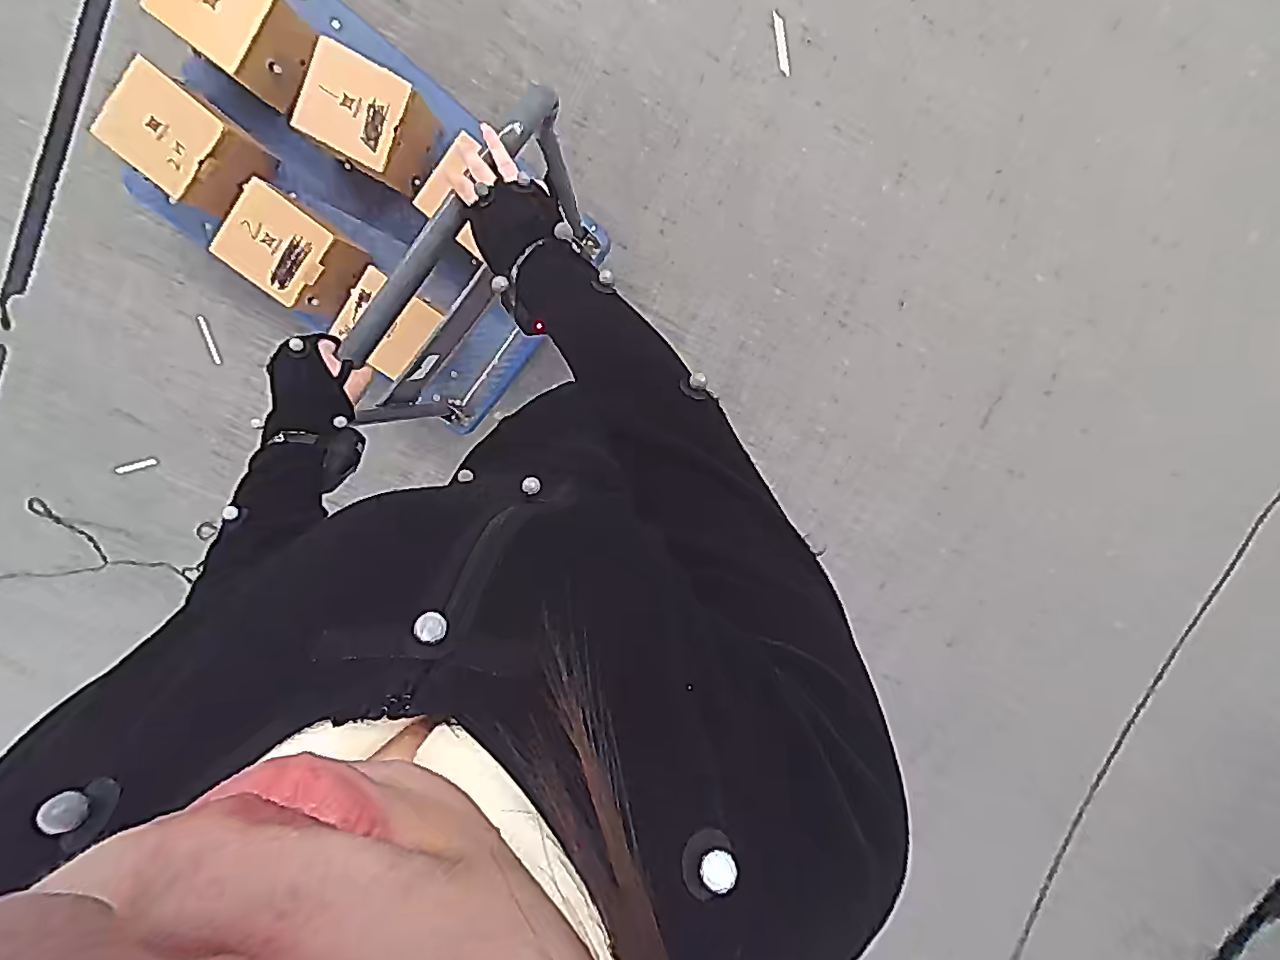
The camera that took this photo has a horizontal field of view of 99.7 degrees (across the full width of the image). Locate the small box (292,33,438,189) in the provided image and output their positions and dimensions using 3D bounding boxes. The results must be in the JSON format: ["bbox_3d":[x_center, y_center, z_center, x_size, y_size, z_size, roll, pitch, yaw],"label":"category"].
[{"bbox_3d":[-0.521,-0.697,1.051,0.179,0.176,0.168,26,100,-8],"label":"small box"}]

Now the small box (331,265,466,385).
[{"bbox_3d":[-0.494,-0.321,1.137,0.179,0.176,0.168,34,97,-11],"label":"small box"}]

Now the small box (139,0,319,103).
[{"bbox_3d":[-0.744,-0.847,1.003,0.179,0.176,0.168,35,99,-10],"label":"small box"}]

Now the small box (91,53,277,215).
[{"bbox_3d":[-0.860,-0.645,1.039,0.179,0.176,0.168,39,98,-12],"label":"small box"}]

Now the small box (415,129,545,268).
[{"bbox_3d":[-0.312,-0.554,1.099,0.179,0.176,0.168,38,97,-10],"label":"small box"}]
